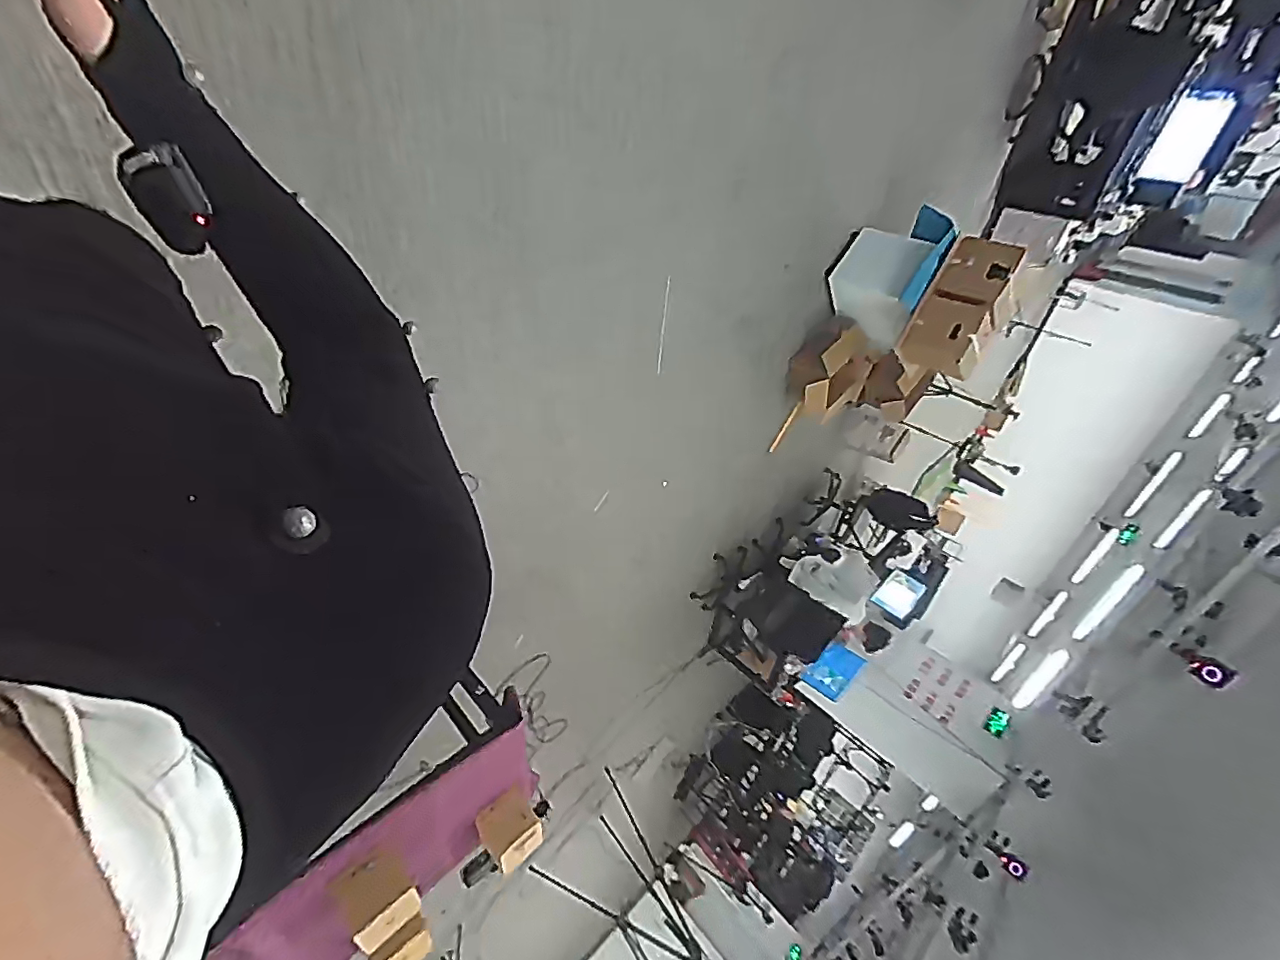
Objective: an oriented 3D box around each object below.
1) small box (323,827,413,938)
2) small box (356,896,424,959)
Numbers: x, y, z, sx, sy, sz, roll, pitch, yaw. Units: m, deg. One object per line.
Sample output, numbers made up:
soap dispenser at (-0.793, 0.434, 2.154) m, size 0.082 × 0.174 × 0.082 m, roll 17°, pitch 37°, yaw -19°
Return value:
small box at (-0.771, 1.137, 1.538) m, size 0.168 × 0.176 × 0.179 m, roll -27°, pitch 140°, yaw -37°
small box at (-0.815, 1.400, 1.726) m, size 0.168 × 0.176 × 0.179 m, roll -24°, pitch 135°, yaw -37°
